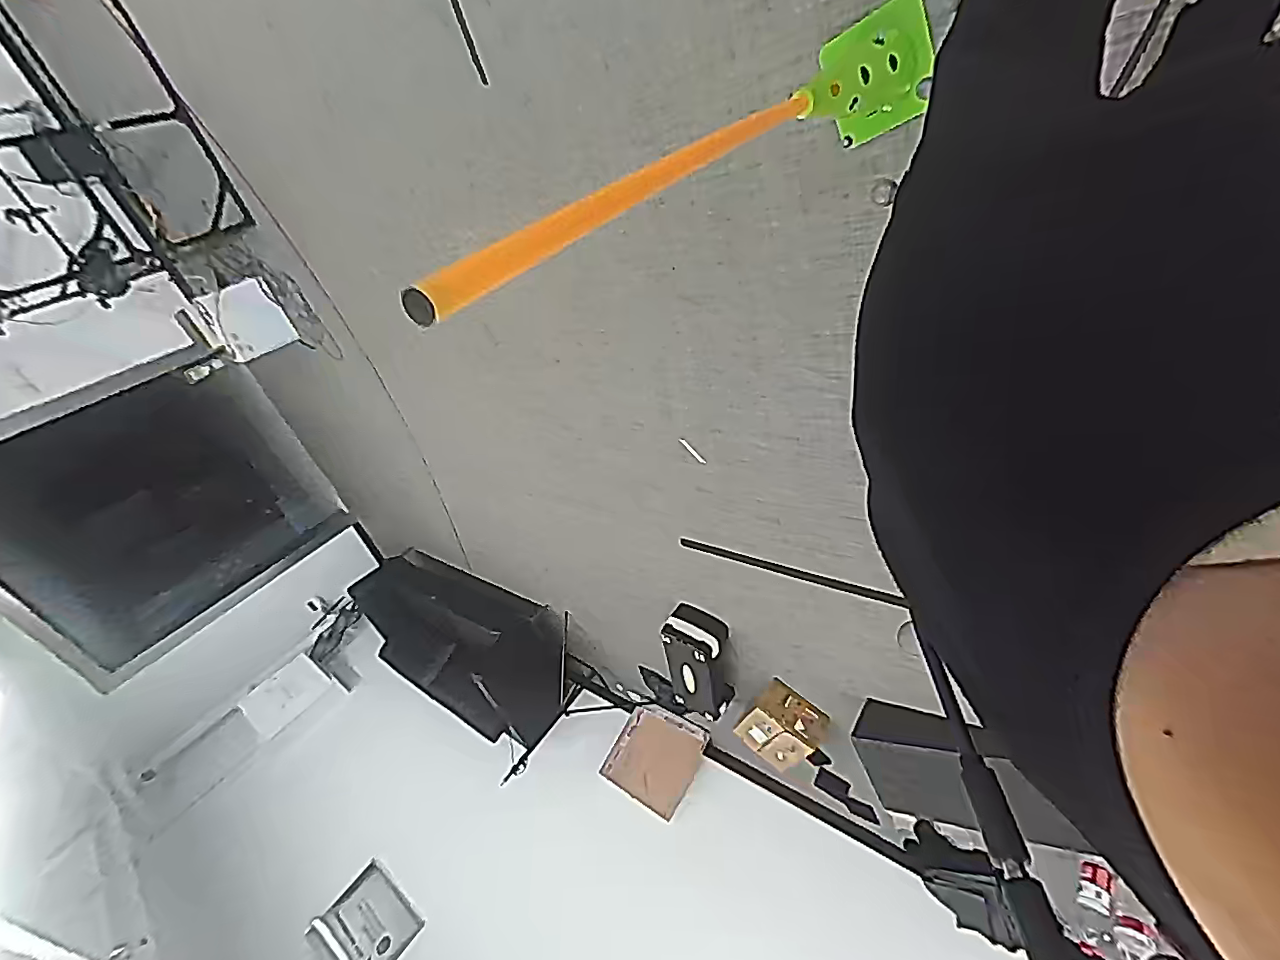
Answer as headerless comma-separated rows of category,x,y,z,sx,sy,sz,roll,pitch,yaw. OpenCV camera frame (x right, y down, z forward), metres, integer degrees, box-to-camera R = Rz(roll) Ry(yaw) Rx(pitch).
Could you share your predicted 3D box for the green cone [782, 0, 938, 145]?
green cone,0.356,-0.704,0.954,0.200,0.368,0.202,-4,120,48
